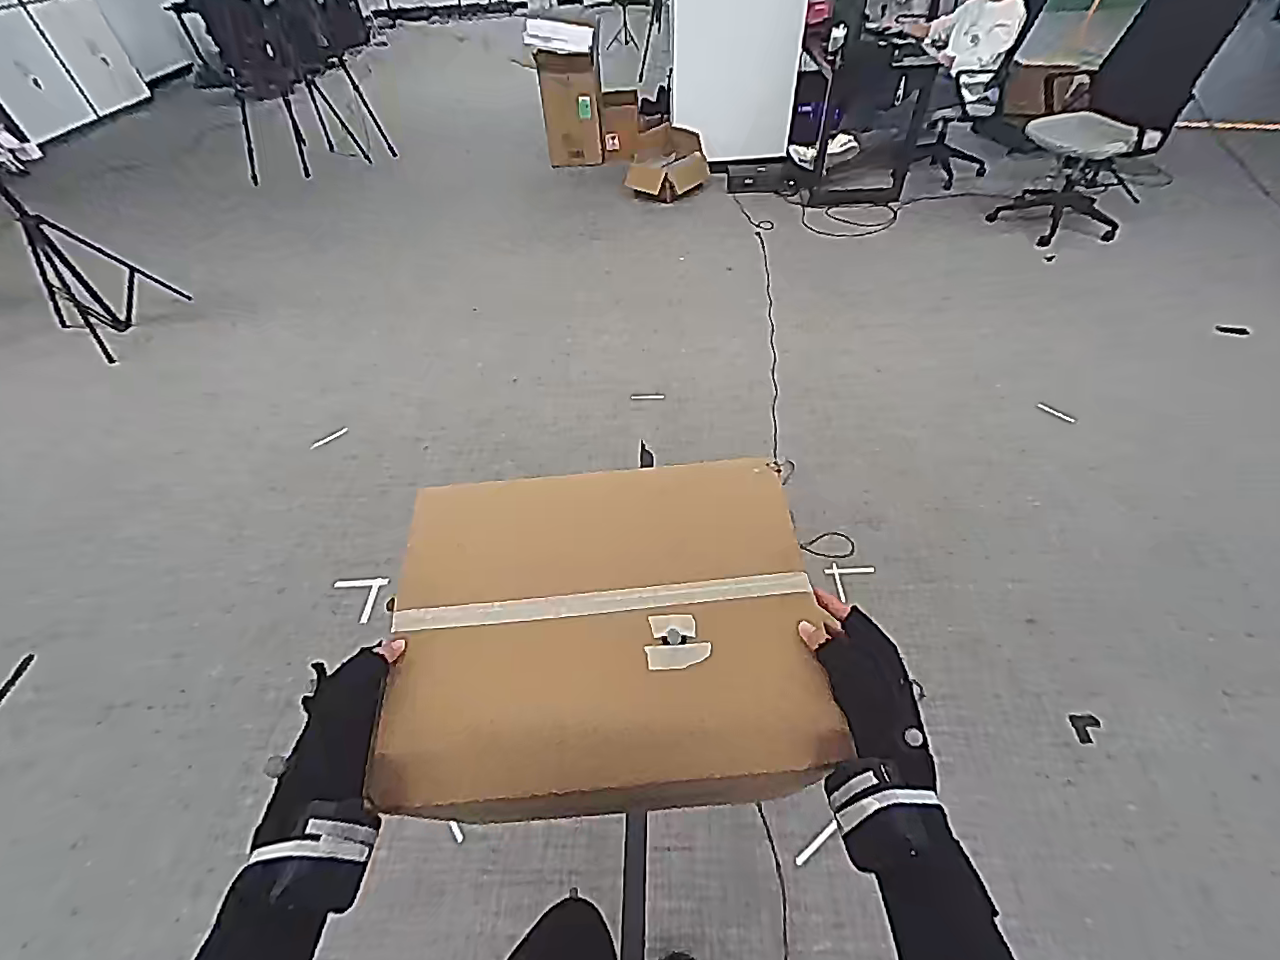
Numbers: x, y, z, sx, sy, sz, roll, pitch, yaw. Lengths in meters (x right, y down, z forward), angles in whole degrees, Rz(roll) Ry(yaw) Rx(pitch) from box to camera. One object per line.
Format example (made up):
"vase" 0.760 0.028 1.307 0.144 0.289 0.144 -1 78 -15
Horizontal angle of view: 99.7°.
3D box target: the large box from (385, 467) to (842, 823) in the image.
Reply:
"large box" -0.030 0.213 0.666 0.408 0.320 0.320 -5 56 -1
